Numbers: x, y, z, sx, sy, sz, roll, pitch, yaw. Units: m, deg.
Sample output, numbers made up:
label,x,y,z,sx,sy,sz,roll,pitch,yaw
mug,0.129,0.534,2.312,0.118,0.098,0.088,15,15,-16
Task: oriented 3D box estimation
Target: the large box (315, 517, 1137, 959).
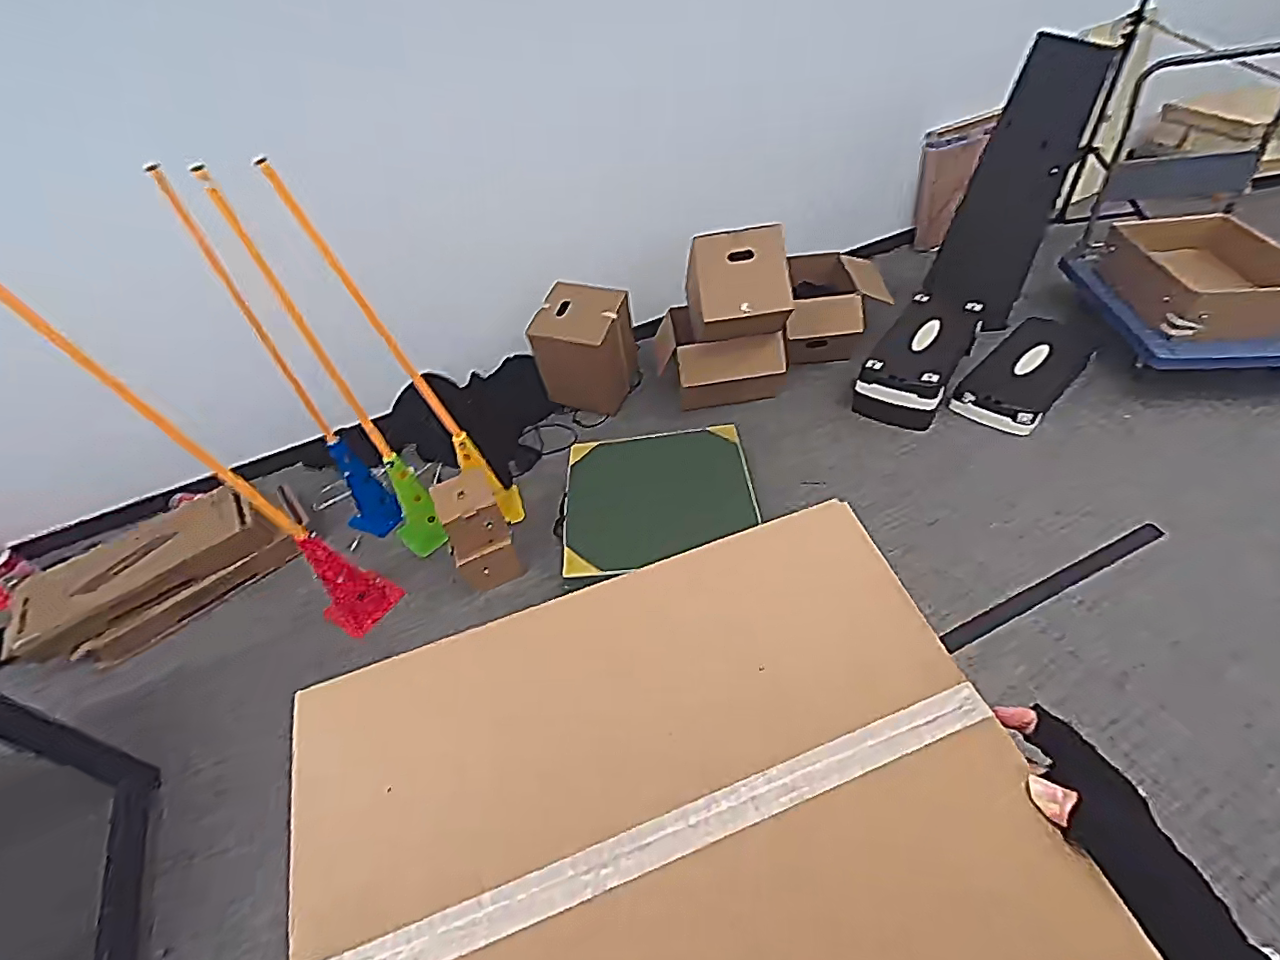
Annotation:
label,x,y,z,sx,sy,sz,roll,pitch,yaw
large box,0.031,0.288,0.431,0.408,0.320,0.320,-19,56,-8
